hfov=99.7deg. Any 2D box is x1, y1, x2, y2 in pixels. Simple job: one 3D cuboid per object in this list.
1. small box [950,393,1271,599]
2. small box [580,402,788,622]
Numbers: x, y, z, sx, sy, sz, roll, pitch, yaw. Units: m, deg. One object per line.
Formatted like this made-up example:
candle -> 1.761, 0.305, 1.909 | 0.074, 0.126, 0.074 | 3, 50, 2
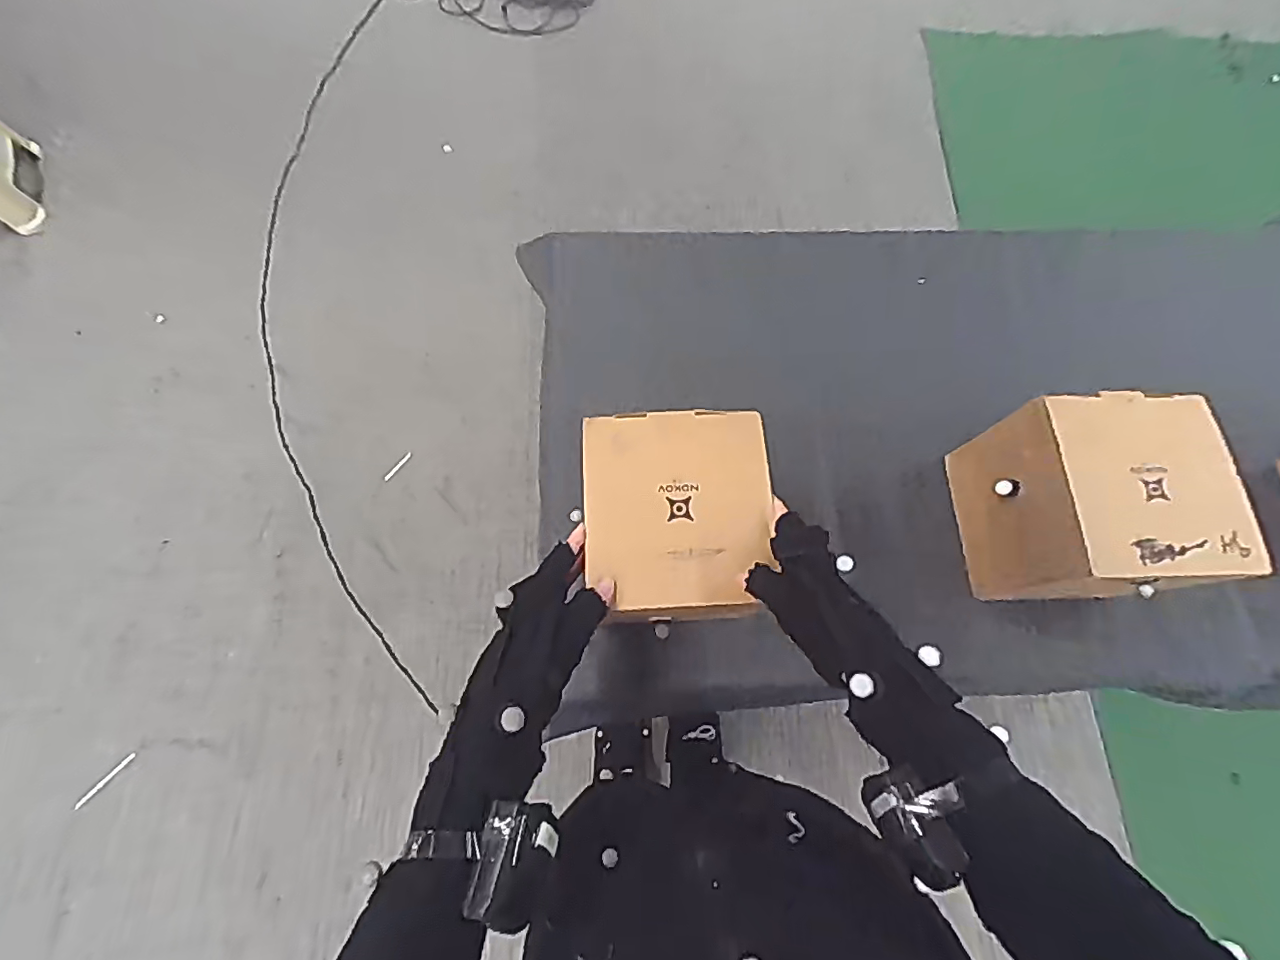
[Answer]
small box -> 0.461, 0.025, 0.568 | 0.168, 0.176, 0.179 | -1, 71, -2
small box -> 0.033, 0.040, 0.524 | 0.168, 0.176, 0.179 | -1, 71, 0
